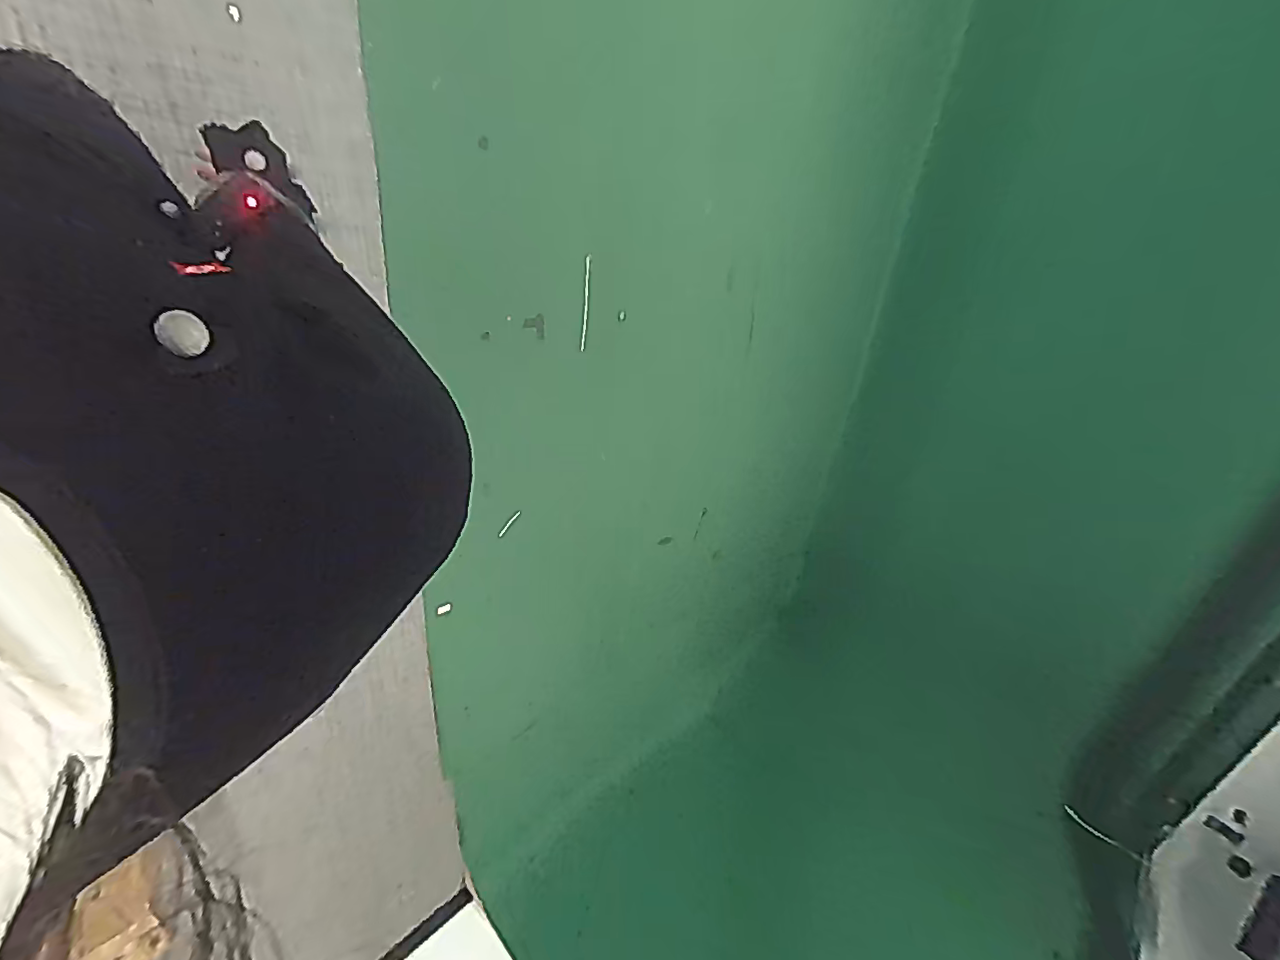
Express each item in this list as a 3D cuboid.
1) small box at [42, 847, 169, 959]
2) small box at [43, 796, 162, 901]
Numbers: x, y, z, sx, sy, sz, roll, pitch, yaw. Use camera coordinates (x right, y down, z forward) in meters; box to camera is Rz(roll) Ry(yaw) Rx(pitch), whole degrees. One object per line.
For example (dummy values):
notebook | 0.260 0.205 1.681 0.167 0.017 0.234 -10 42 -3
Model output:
small box | -1.251 1.024 1.268 0.179 0.176 0.168 -21 129 -41
small box | -1.362 0.959 1.369 0.179 0.176 0.168 -22 131 -42
